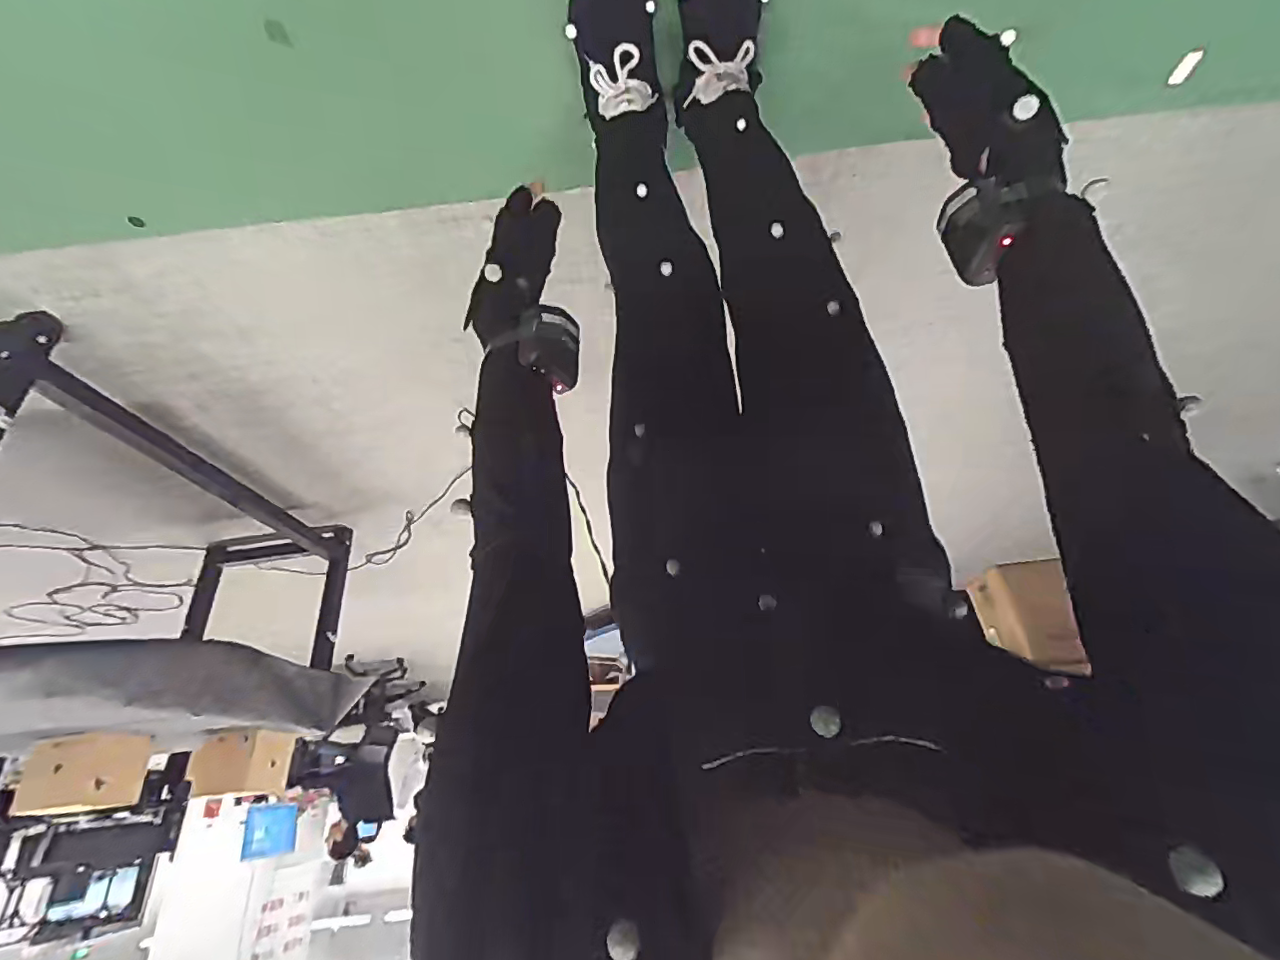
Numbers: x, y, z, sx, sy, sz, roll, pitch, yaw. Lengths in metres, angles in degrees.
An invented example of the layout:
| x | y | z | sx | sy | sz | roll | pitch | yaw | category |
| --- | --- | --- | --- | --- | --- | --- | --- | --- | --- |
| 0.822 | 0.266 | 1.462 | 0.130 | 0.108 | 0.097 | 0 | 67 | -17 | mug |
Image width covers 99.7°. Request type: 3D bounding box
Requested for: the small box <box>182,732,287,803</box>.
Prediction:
| x | y | z | sx | sy | sz | roll | pitch | yaw | category |
| --- | --- | --- | --- | --- | --- | --- | --- | --- | --- |
| -1.195 | 0.851 | 1.607 | 0.168 | 0.176 | 0.179 | -7 | 151 | 2 | small box |

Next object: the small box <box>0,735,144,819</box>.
| x | y | z | sx | sy | sz | roll | pitch | yaw | category |
| --- | --- | --- | --- | --- | --- | --- | --- | --- | --- |
| -1.448 | 0.760 | 1.391 | 0.168 | 0.176 | 0.179 | -7 | 151 | -1 | small box |
